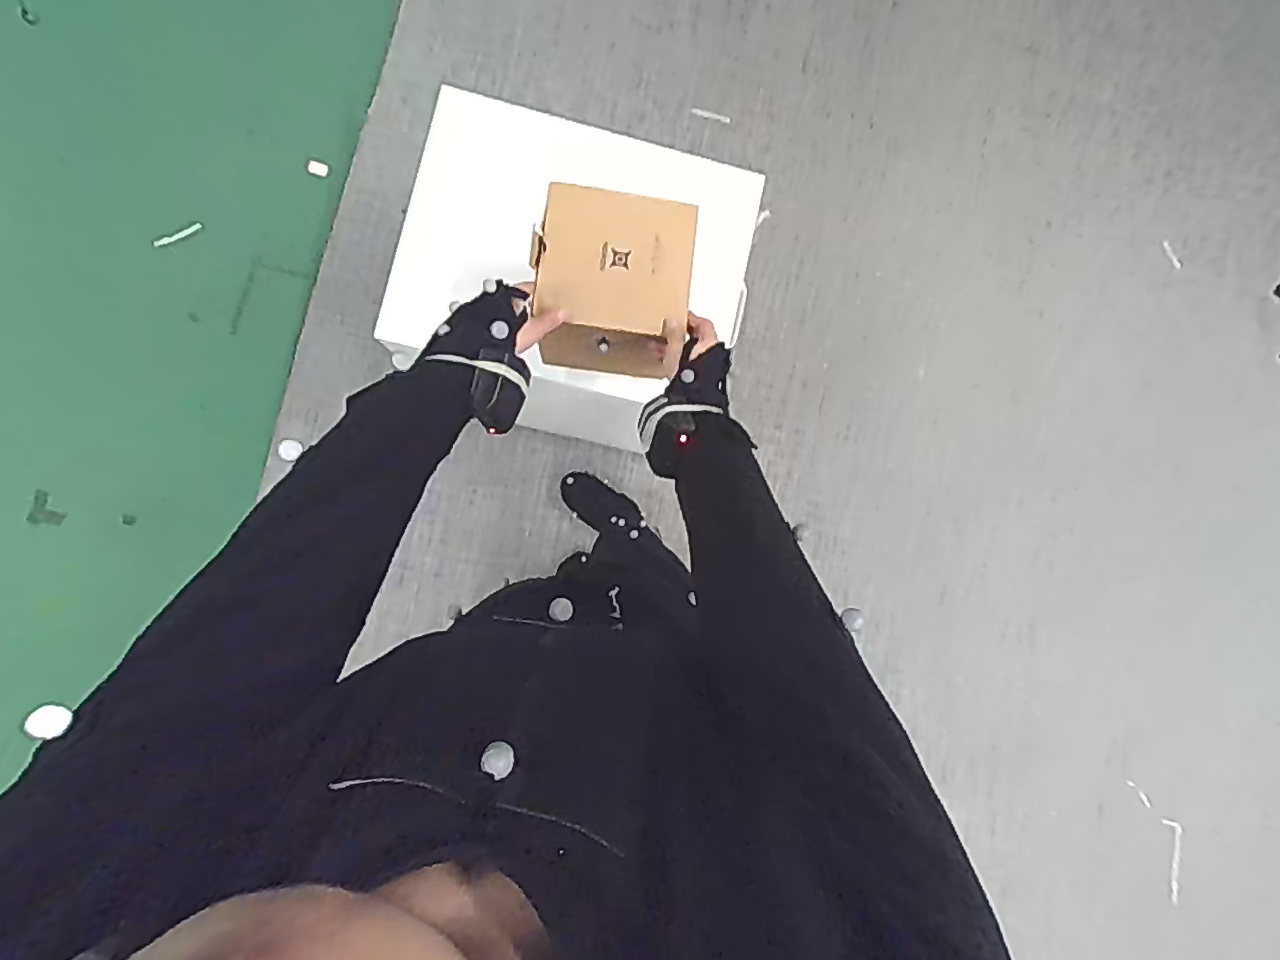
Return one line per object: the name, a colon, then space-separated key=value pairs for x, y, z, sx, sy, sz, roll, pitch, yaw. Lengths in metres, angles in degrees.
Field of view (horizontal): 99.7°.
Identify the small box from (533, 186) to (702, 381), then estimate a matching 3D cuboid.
small box: x=-0.030 y=-0.235 z=0.687 sx=0.179 sy=0.176 sz=0.168 roll=7 pitch=83 yaw=-5
